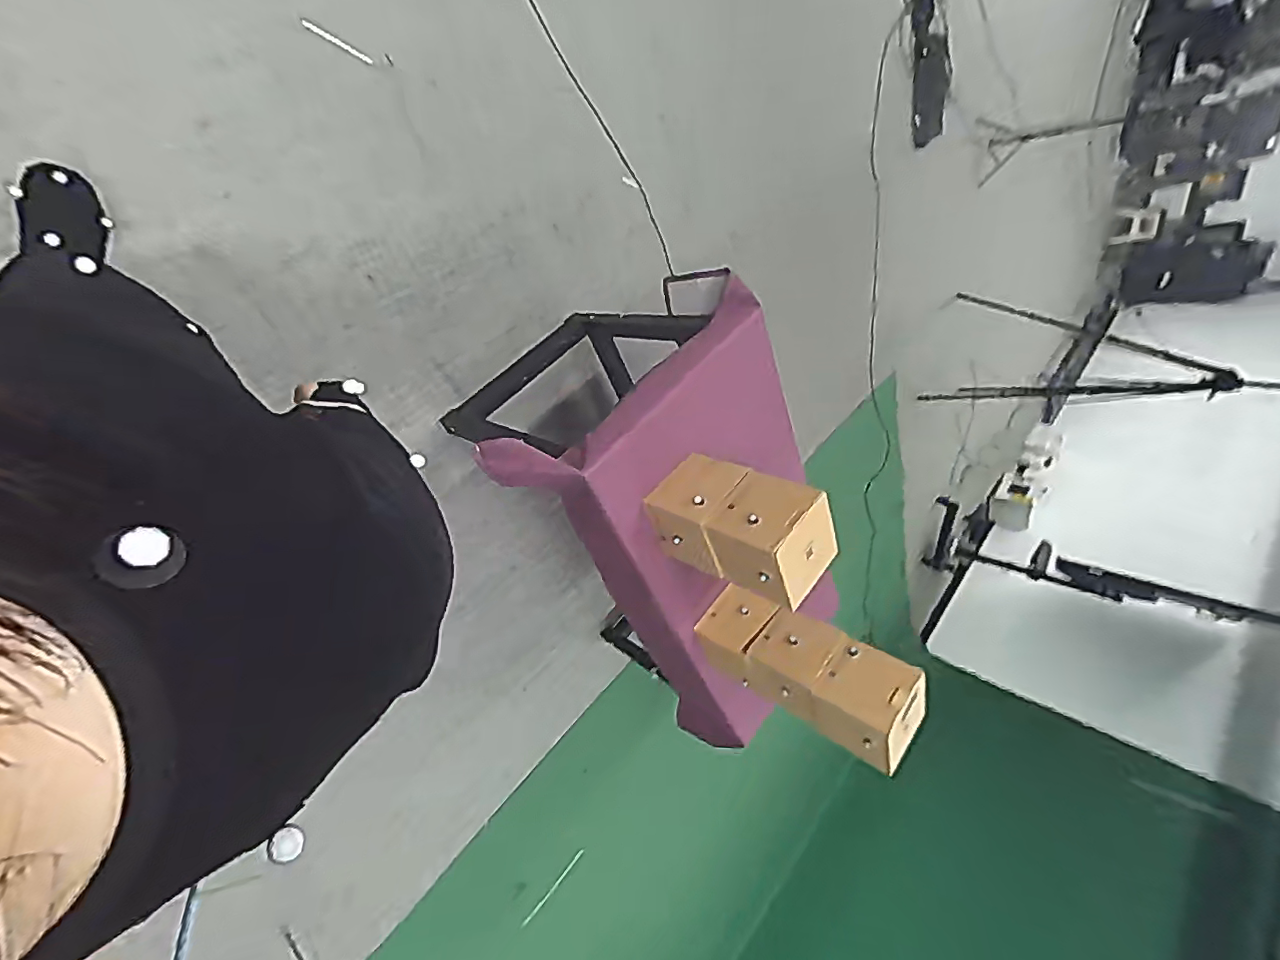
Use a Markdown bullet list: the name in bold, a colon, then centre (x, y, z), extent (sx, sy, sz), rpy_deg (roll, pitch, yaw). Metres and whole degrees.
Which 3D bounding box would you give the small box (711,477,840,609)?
- **small box**: centre (0.262, 0.111, 1.050), extent (0.168, 0.176, 0.179), rpy_deg (-44, 130, -23)

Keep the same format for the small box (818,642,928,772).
- **small box**: centre (0.501, 0.479, 1.170), extent (0.168, 0.176, 0.179), rpy_deg (-41, 130, -27)

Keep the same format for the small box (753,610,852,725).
- **small box**: centre (0.388, 0.432, 1.281), extent (0.168, 0.176, 0.179), rpy_deg (-41, 128, -26)

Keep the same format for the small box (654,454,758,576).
- **small box**: centre (0.150, 0.068, 1.161), extent (0.179, 0.176, 0.168), rpy_deg (-43, 130, -25)

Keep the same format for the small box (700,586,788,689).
- **small box**: centre (0.280, 0.398, 1.400), extent (0.168, 0.176, 0.179), rpy_deg (-45, 130, -24)
